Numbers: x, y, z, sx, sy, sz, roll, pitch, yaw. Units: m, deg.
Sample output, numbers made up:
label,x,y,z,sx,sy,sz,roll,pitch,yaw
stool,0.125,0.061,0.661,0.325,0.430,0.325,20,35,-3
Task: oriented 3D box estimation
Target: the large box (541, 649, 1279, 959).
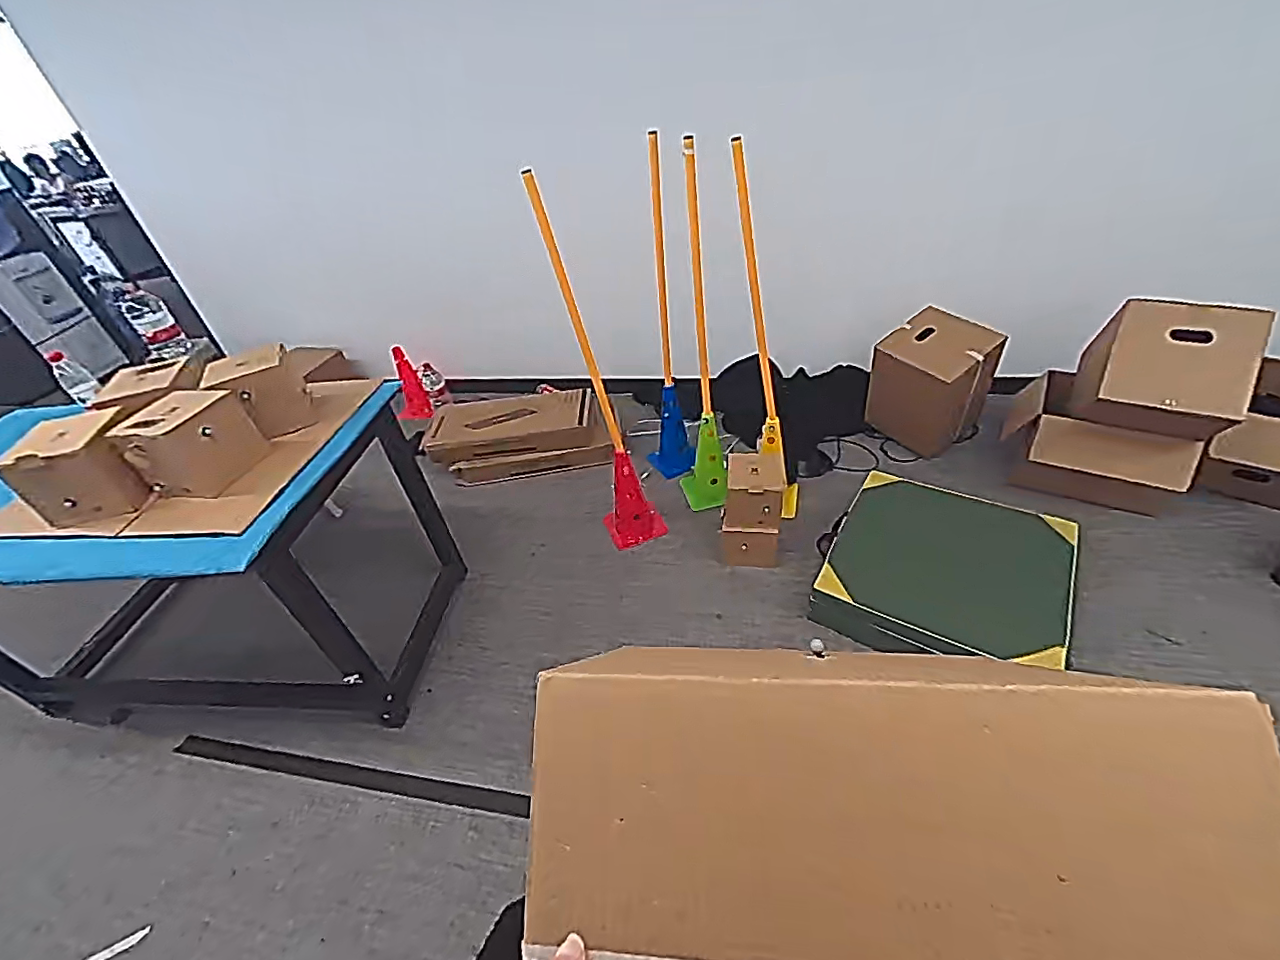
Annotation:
label,x,y,z,sx,sy,sz,roll,pitch,yaw
large box,0.159,0.312,0.442,0.408,0.320,0.320,-2,76,9
